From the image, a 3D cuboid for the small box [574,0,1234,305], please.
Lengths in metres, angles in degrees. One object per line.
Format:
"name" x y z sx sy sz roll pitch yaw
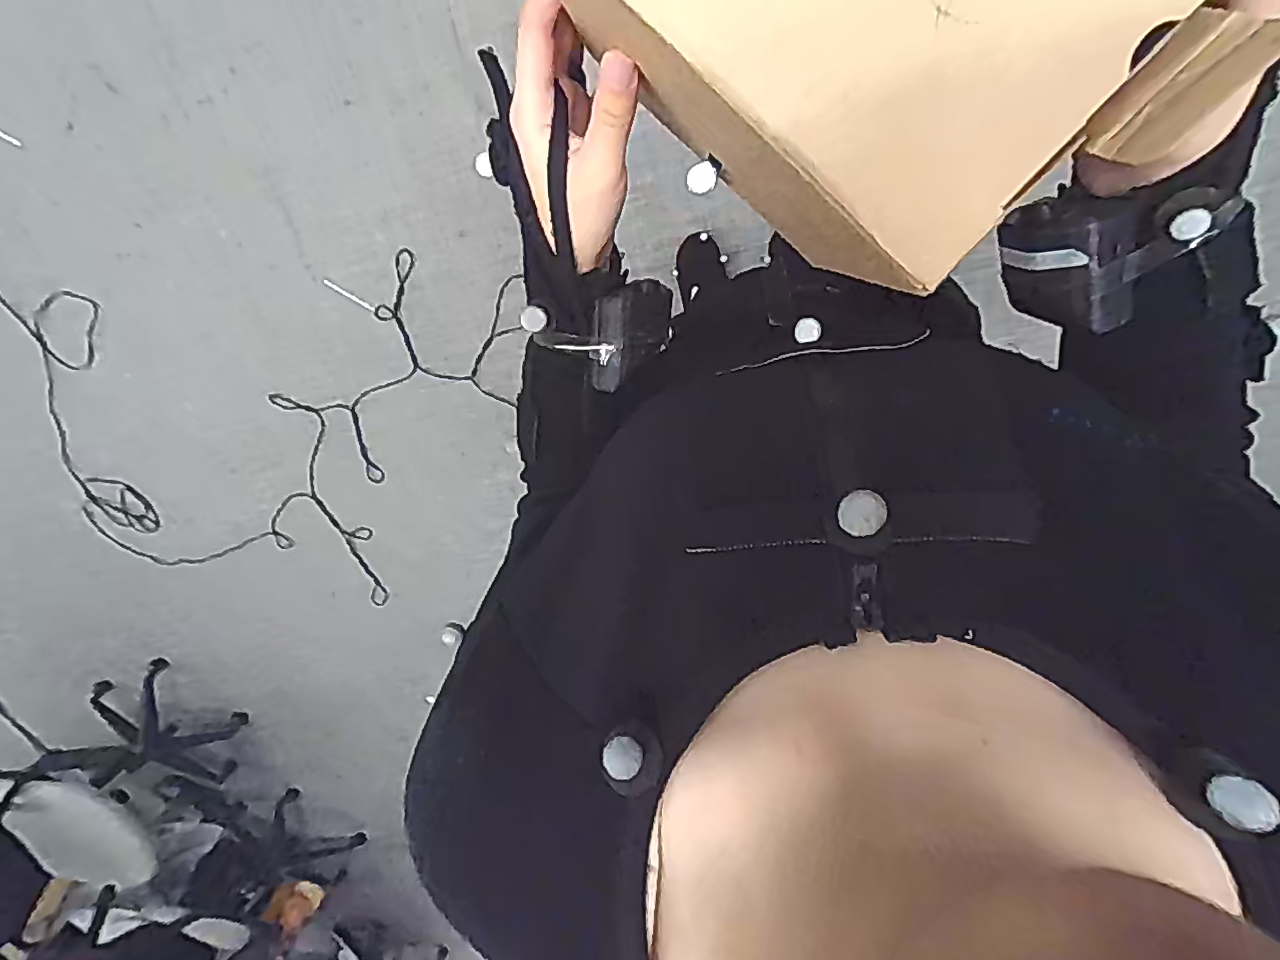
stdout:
"small box" 0.089 -0.202 0.218 0.179 0.176 0.168 38 111 -14
